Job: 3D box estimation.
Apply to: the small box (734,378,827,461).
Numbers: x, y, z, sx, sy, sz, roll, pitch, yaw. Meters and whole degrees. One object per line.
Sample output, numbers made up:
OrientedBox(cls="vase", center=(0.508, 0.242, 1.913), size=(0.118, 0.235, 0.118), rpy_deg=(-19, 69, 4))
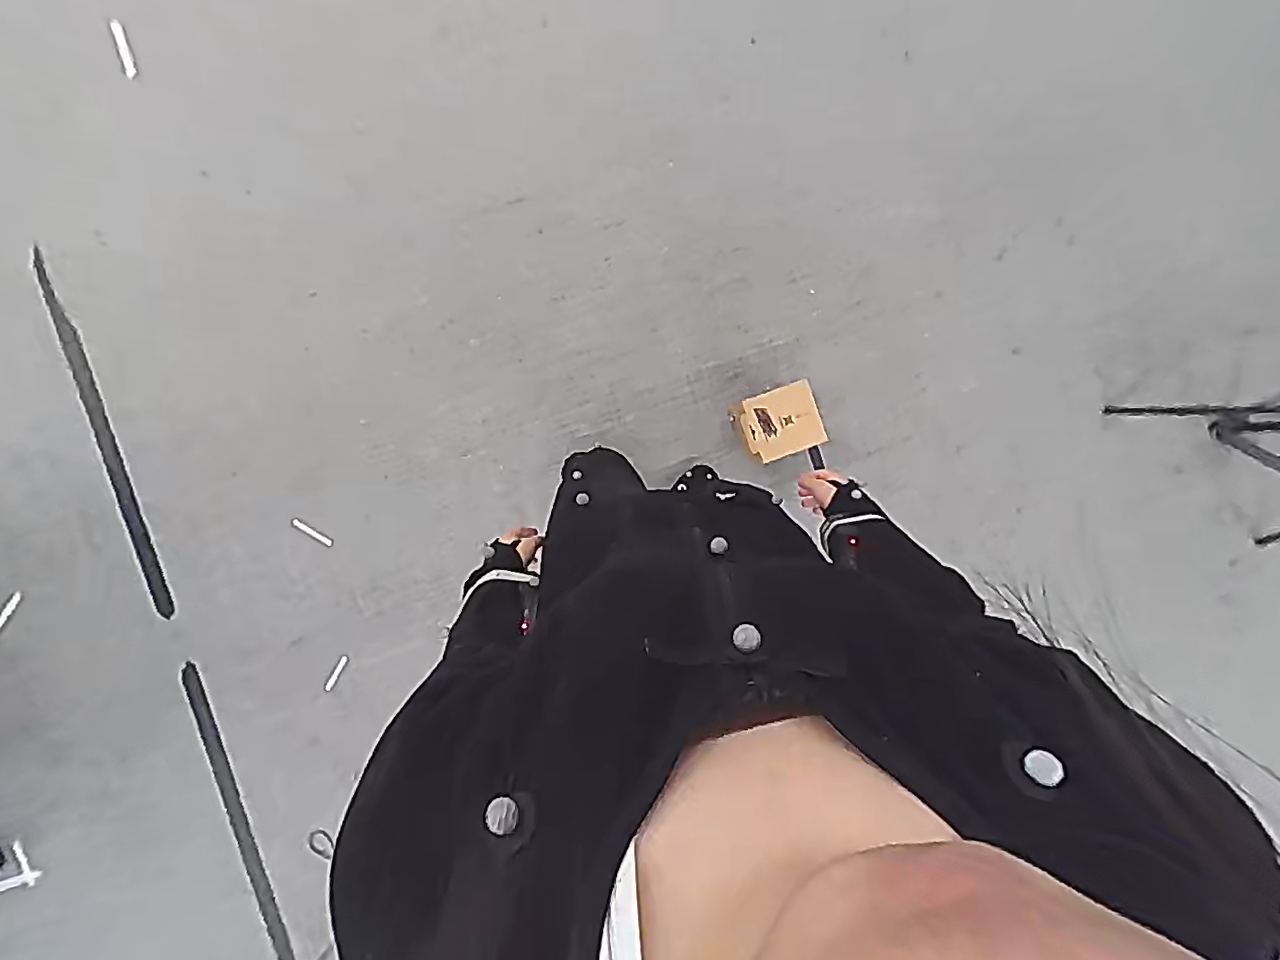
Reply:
OrientedBox(cls="small box", center=(0.357, -0.151, 1.415), size=(0.179, 0.176, 0.168), rpy_deg=(-20, 93, -1))
